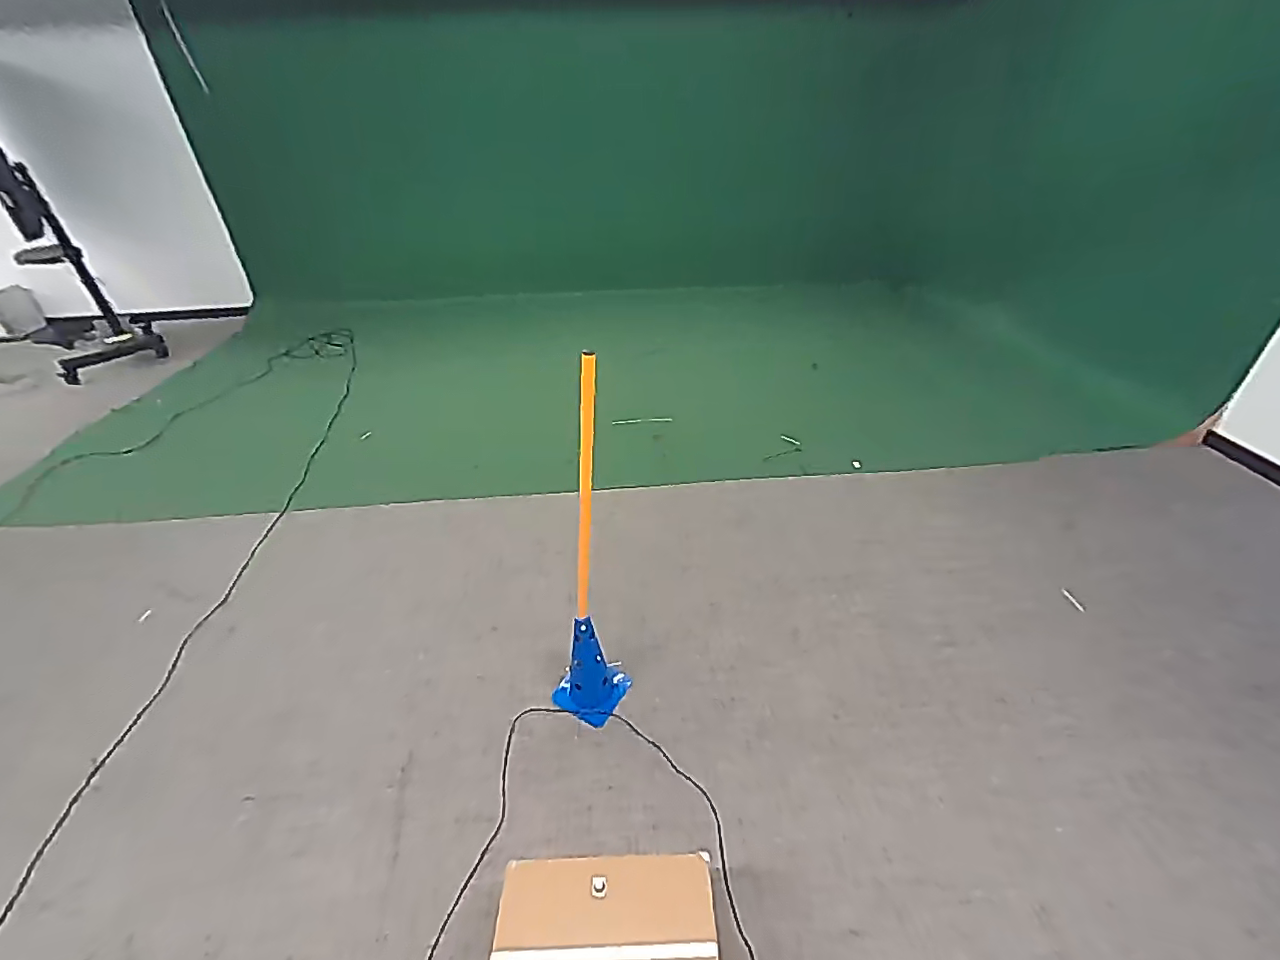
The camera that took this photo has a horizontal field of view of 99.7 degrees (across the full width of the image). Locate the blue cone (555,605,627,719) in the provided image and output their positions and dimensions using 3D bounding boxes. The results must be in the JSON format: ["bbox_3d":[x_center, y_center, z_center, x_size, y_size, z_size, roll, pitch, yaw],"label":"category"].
[{"bbox_3d":[-0.157,0.515,1.624,0.192,0.380,0.193,17,38,23],"label":"blue cone"}]
